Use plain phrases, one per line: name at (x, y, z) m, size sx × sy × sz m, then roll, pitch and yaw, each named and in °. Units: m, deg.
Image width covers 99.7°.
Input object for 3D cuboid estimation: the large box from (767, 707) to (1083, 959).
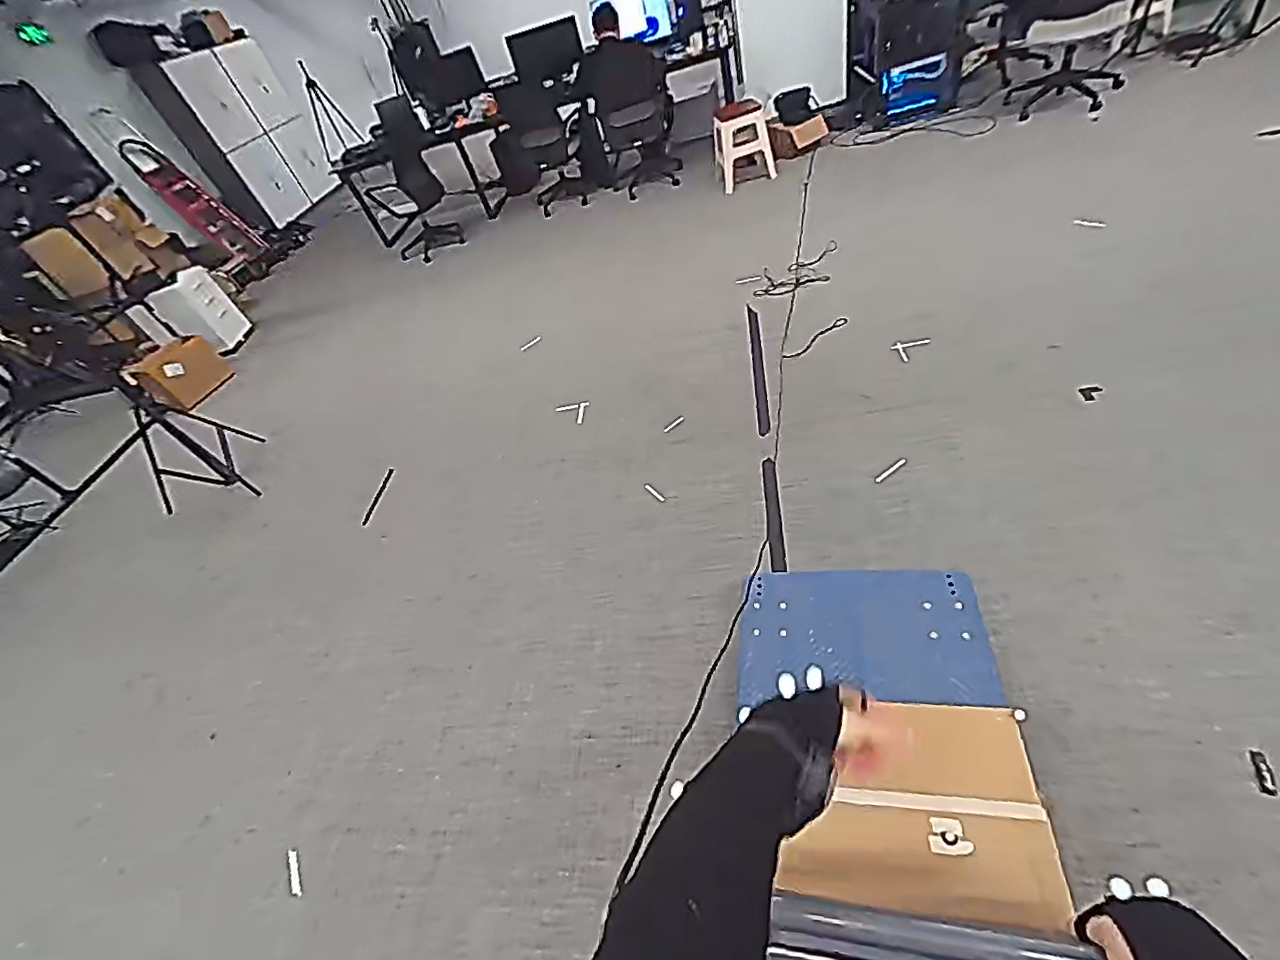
large box at (0.441, 0.622, 0.949) m, size 0.408 × 0.320 × 0.320 m, roll -4°, pitch 46°, yaw 17°
